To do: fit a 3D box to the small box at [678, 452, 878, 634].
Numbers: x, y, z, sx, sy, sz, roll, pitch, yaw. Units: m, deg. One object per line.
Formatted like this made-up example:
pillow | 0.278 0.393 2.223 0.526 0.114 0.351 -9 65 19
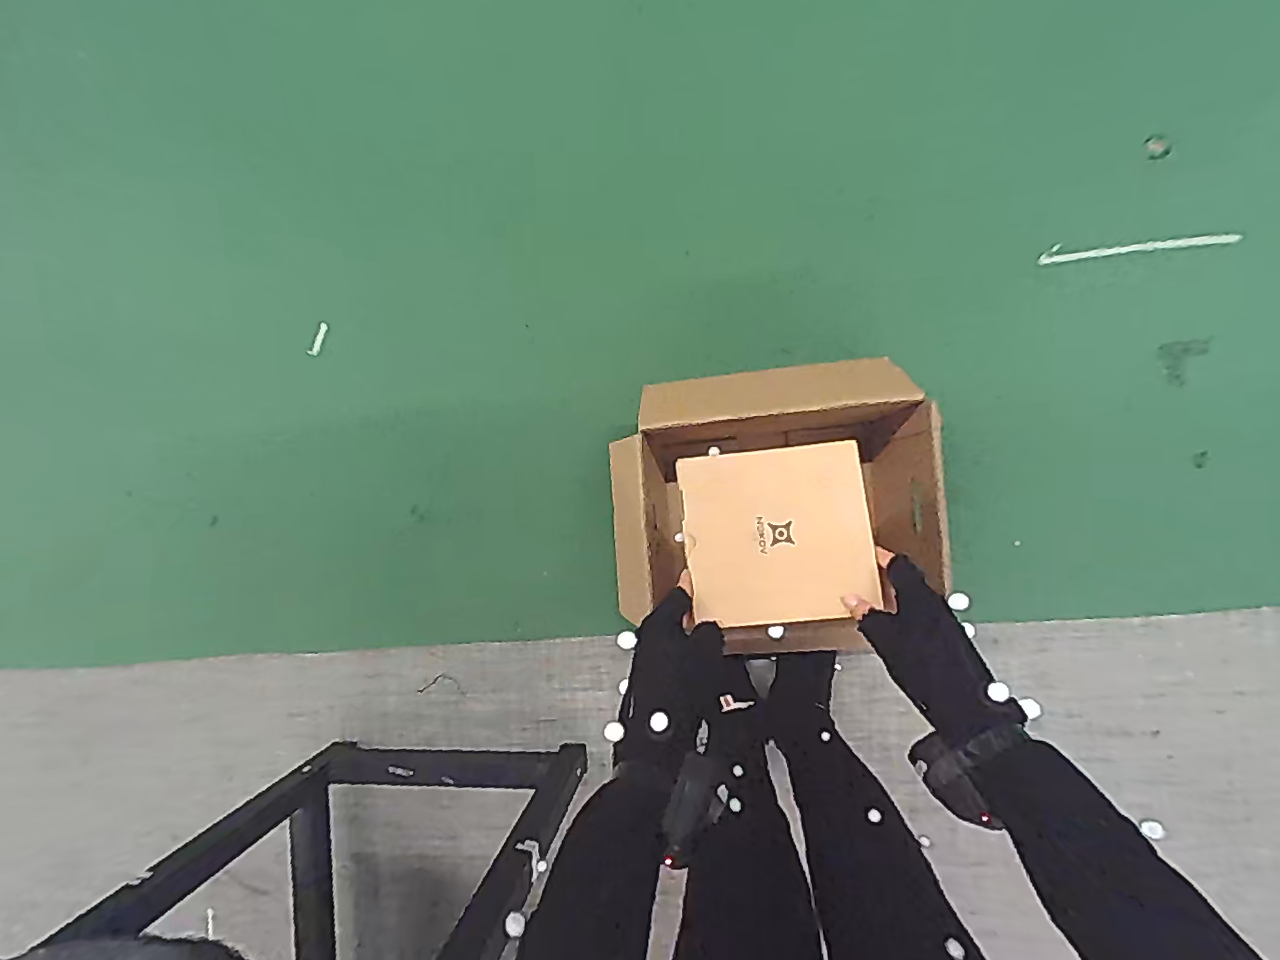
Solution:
small box | 0.138 0.072 0.599 0.179 0.176 0.168 -6 79 6
